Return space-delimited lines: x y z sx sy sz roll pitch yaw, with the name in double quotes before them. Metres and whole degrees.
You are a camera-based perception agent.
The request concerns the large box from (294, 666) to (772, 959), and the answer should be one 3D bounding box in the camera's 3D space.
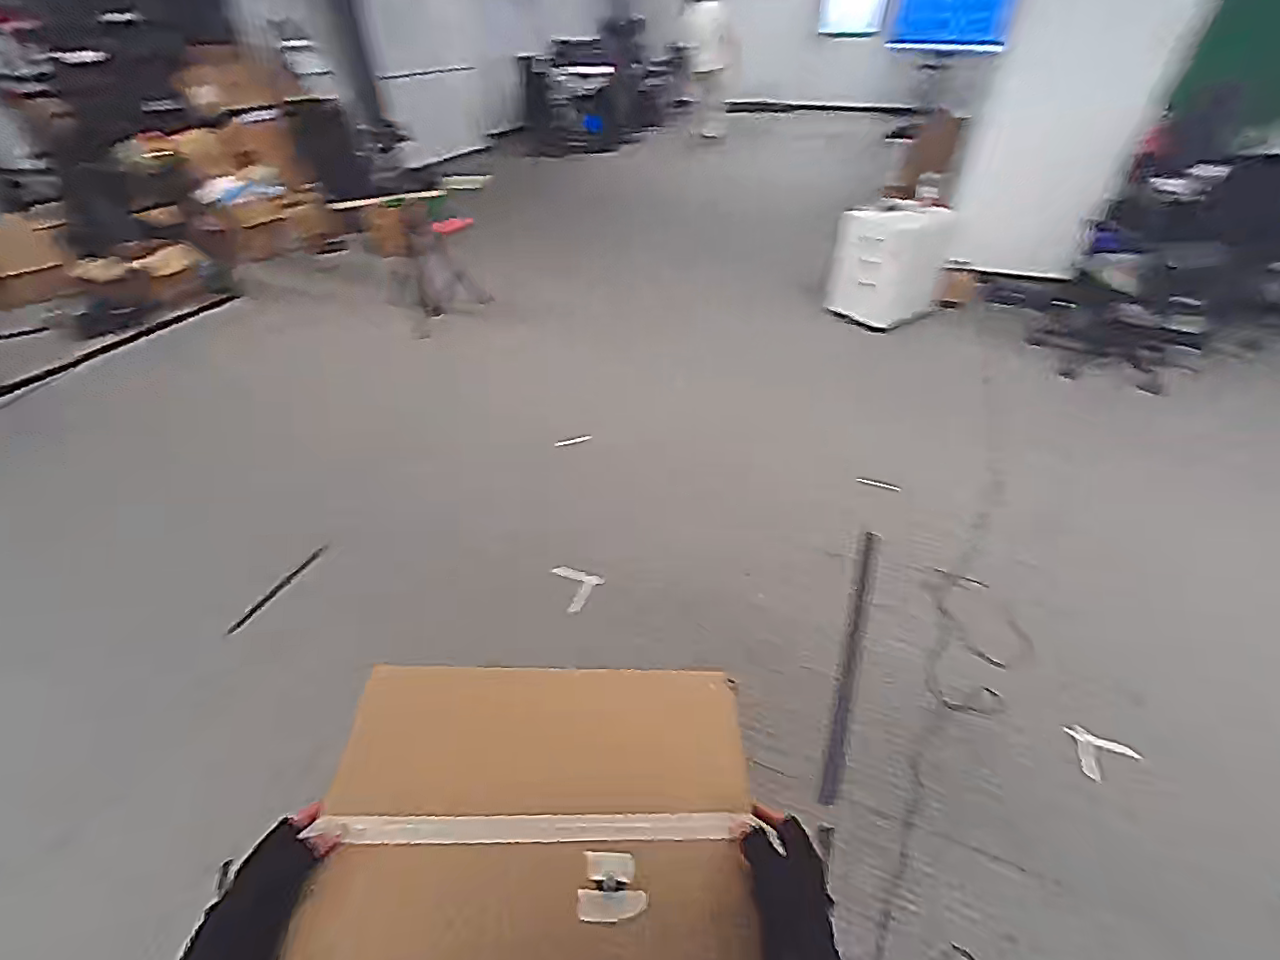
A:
"large box" -0.099 0.433 0.626 0.408 0.320 0.320 3 46 -4
